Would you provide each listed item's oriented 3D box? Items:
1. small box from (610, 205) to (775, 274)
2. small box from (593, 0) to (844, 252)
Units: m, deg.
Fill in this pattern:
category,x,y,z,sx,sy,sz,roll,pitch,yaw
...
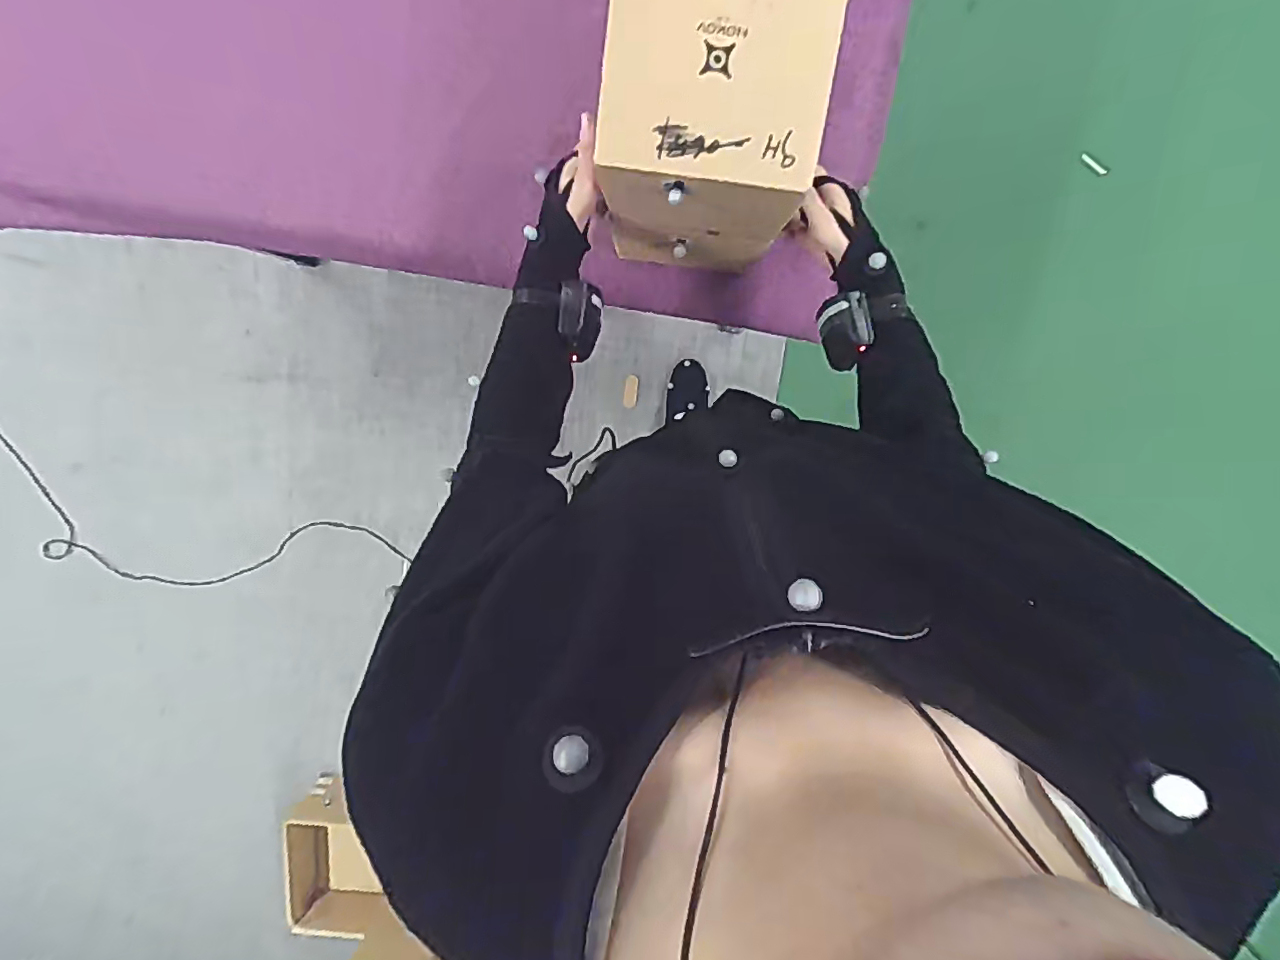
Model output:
category,x,y,z,sx,sy,sz,roll,pitch,yaw
small box,0.069,-0.346,0.632,0.179,0.176,0.168,8,101,3
small box,0.062,-0.318,0.470,0.168,0.176,0.179,9,101,3
